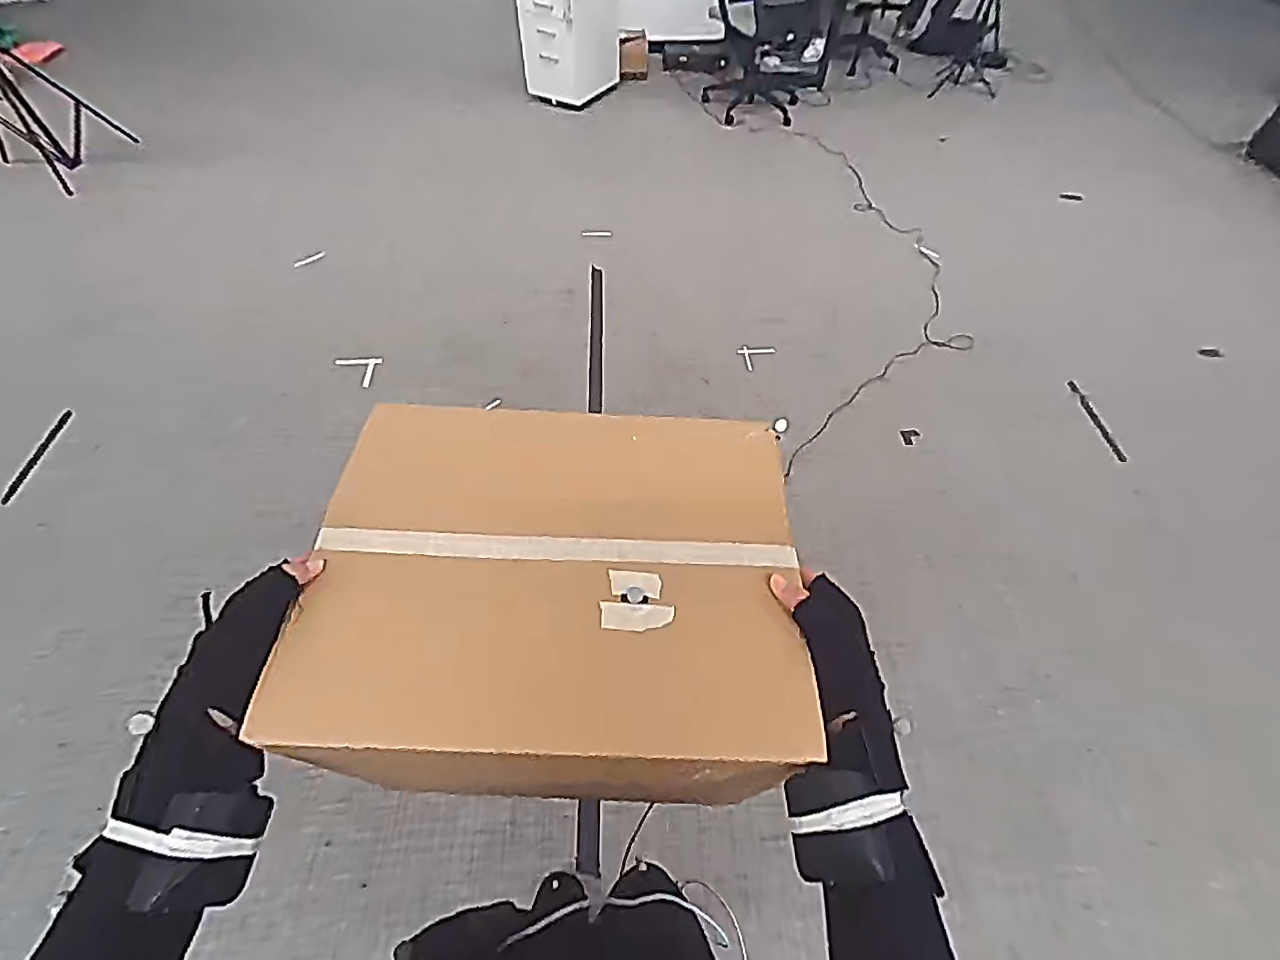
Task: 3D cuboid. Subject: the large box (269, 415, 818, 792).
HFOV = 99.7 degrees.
[{"bbox_3d":[-0.074,0.150,0.593,0.408,0.320,0.320,3,56,-2],"label":"large box"}]
